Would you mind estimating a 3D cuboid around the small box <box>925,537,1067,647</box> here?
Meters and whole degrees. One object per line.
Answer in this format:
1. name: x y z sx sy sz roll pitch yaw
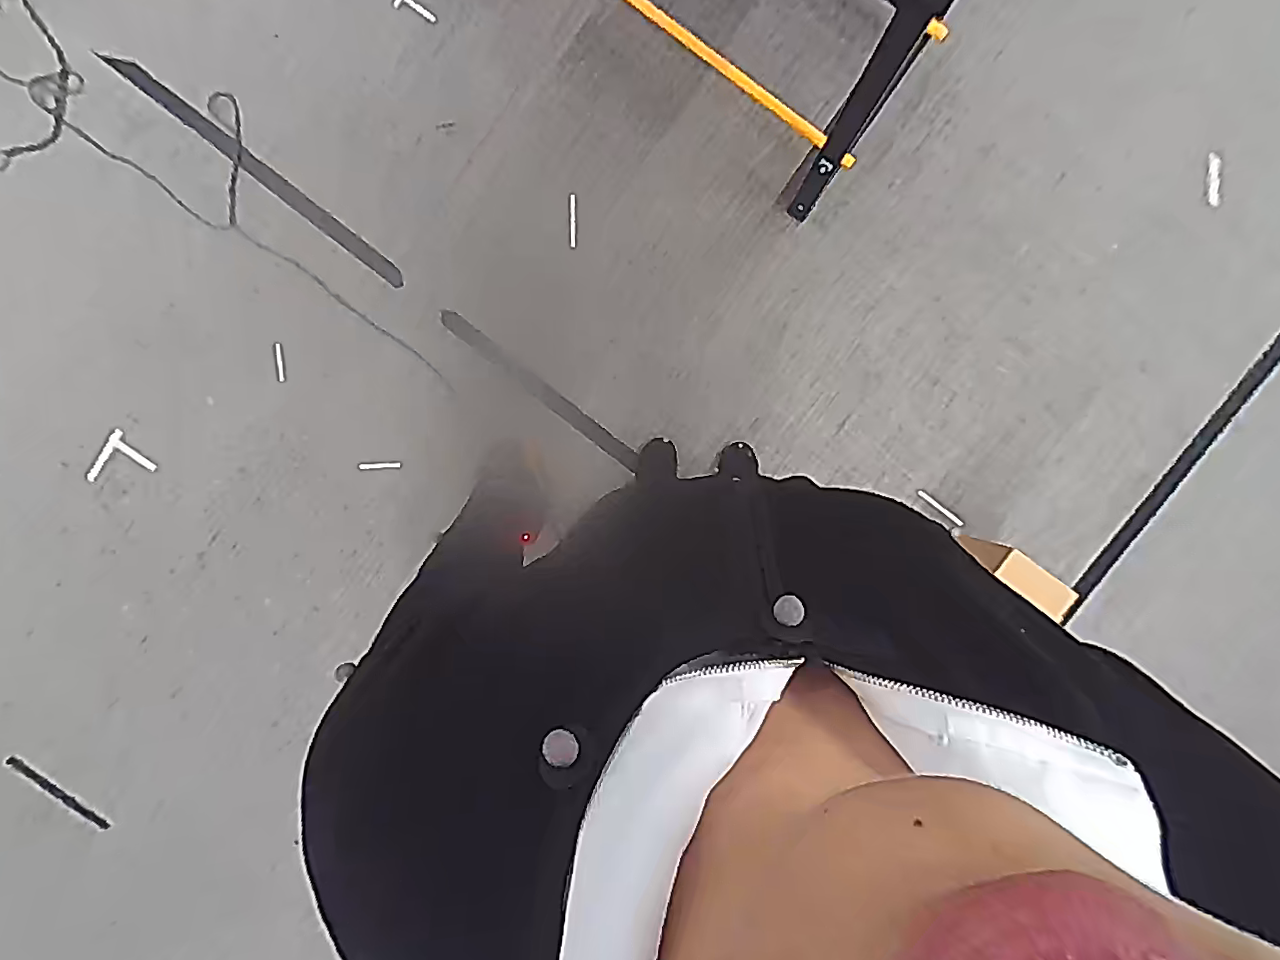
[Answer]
1. small box: 0.815 0.249 1.255 0.179 0.176 0.168 36 92 0
